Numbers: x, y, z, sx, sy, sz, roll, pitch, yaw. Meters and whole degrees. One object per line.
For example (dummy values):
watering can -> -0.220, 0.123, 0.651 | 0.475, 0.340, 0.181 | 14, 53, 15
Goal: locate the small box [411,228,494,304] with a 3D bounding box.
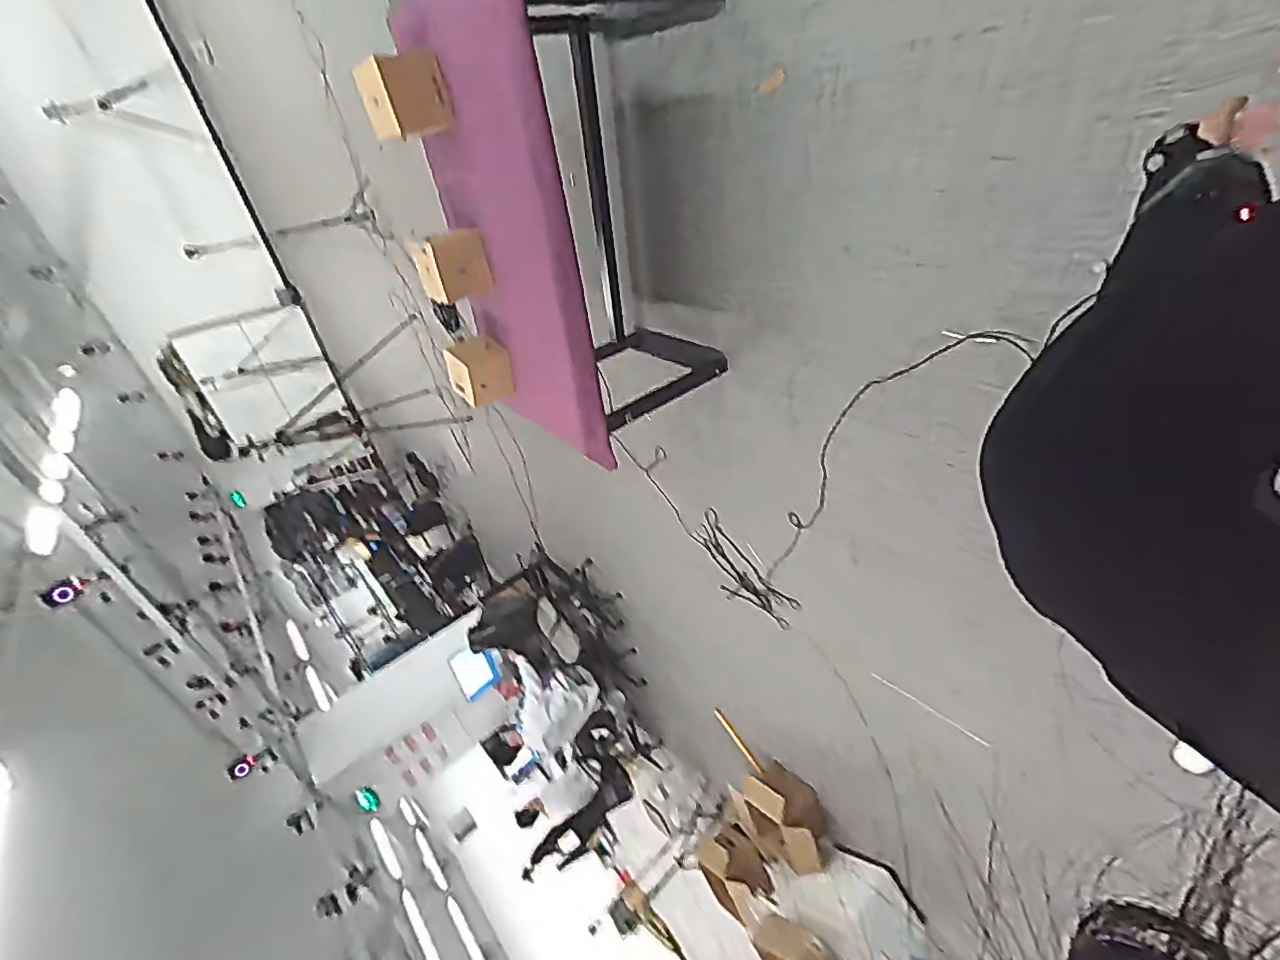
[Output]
small box -> -0.587, -0.679, 1.711 | 0.168, 0.176, 0.179 | 27, 139, 40

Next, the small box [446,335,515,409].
small box -> -0.567, -0.391, 1.943 | 0.168, 0.176, 0.179 | 37, 143, 30

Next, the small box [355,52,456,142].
small box -> -0.624, -1.022, 1.448 | 0.179, 0.176, 0.168 | 24, 137, 43
